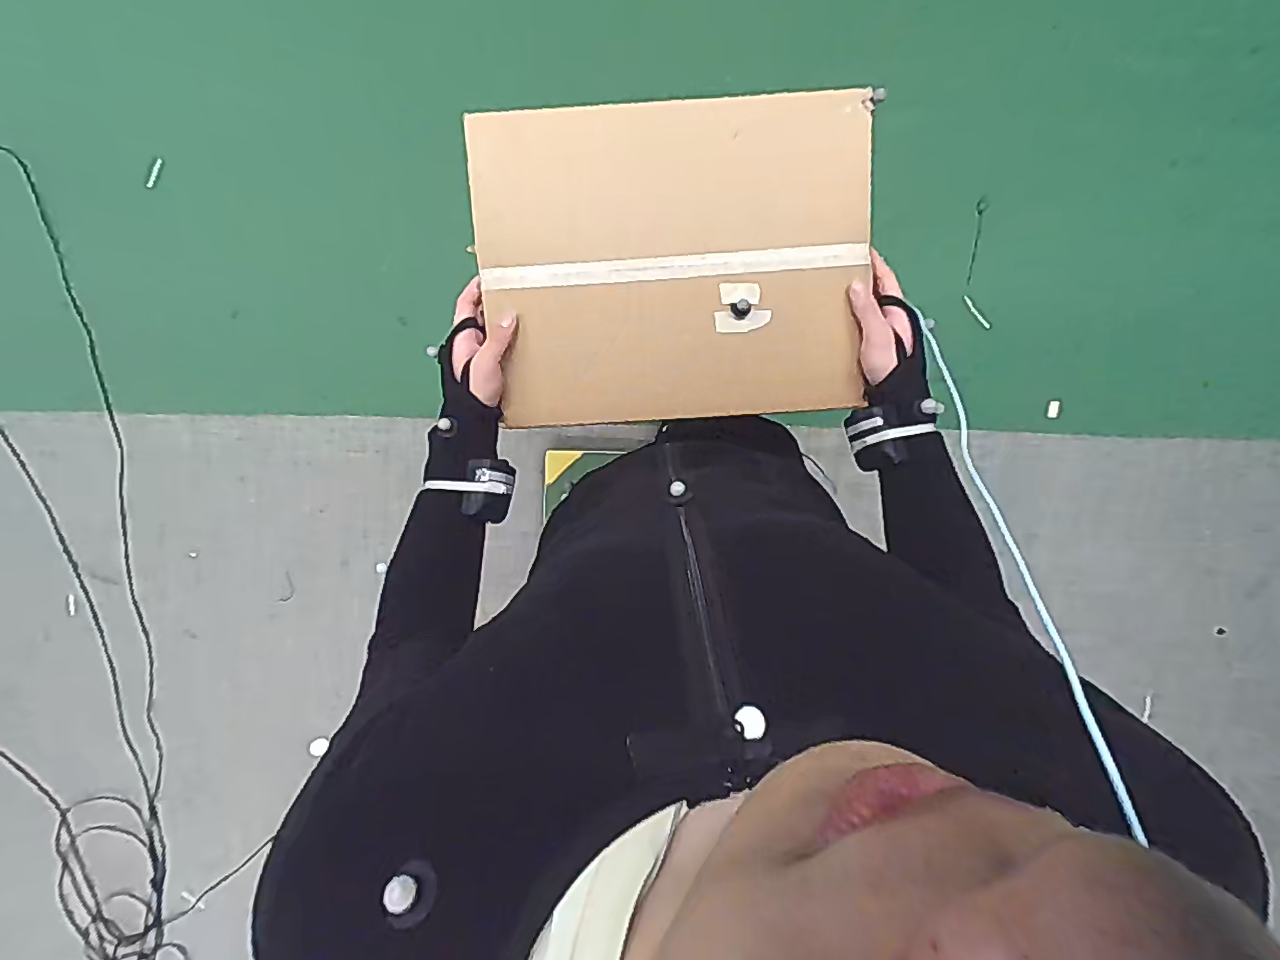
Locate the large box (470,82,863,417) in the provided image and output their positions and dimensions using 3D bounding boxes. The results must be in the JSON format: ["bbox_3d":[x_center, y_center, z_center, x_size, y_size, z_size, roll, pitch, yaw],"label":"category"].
[{"bbox_3d":[0.032,-0.259,0.715,0.408,0.320,0.320,-4,100,0],"label":"large box"}]
